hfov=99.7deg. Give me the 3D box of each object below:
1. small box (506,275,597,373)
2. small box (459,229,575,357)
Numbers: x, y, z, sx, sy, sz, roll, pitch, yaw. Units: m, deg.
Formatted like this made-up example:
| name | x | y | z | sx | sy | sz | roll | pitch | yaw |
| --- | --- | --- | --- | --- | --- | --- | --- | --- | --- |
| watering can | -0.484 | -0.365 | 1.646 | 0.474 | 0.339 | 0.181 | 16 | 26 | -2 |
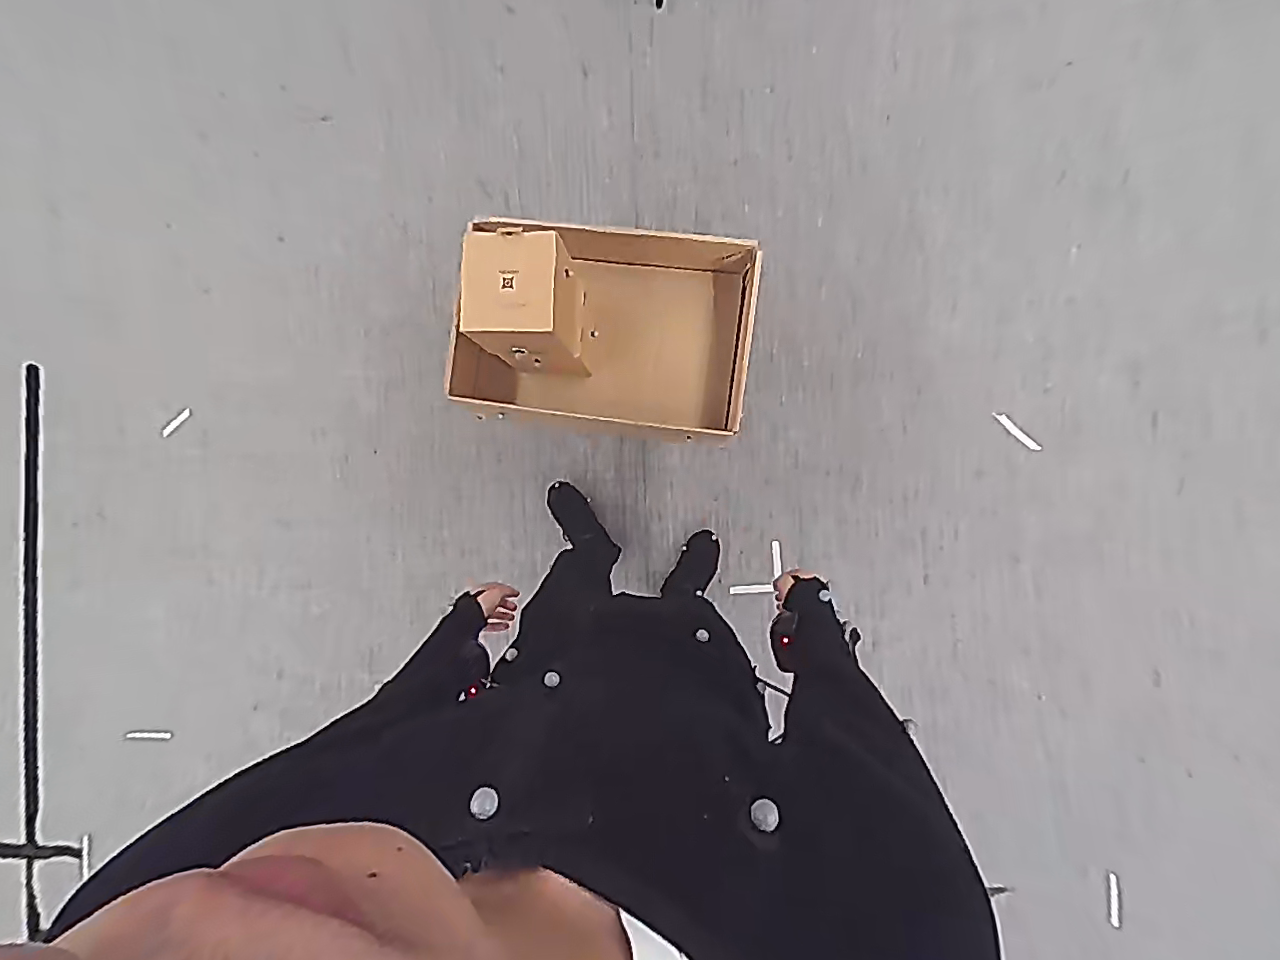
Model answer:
| name | x | y | z | sx | sy | sz | roll | pitch | yaw |
| --- | --- | --- | --- | --- | --- | --- | --- | --- | --- |
| small box | -0.197 | -0.332 | 1.162 | 0.179 | 0.176 | 0.168 | 4 | 89 | 3 |
| small box | -0.218 | -0.339 | 0.999 | 0.168 | 0.176 | 0.179 | 2 | 88 | 5 |
